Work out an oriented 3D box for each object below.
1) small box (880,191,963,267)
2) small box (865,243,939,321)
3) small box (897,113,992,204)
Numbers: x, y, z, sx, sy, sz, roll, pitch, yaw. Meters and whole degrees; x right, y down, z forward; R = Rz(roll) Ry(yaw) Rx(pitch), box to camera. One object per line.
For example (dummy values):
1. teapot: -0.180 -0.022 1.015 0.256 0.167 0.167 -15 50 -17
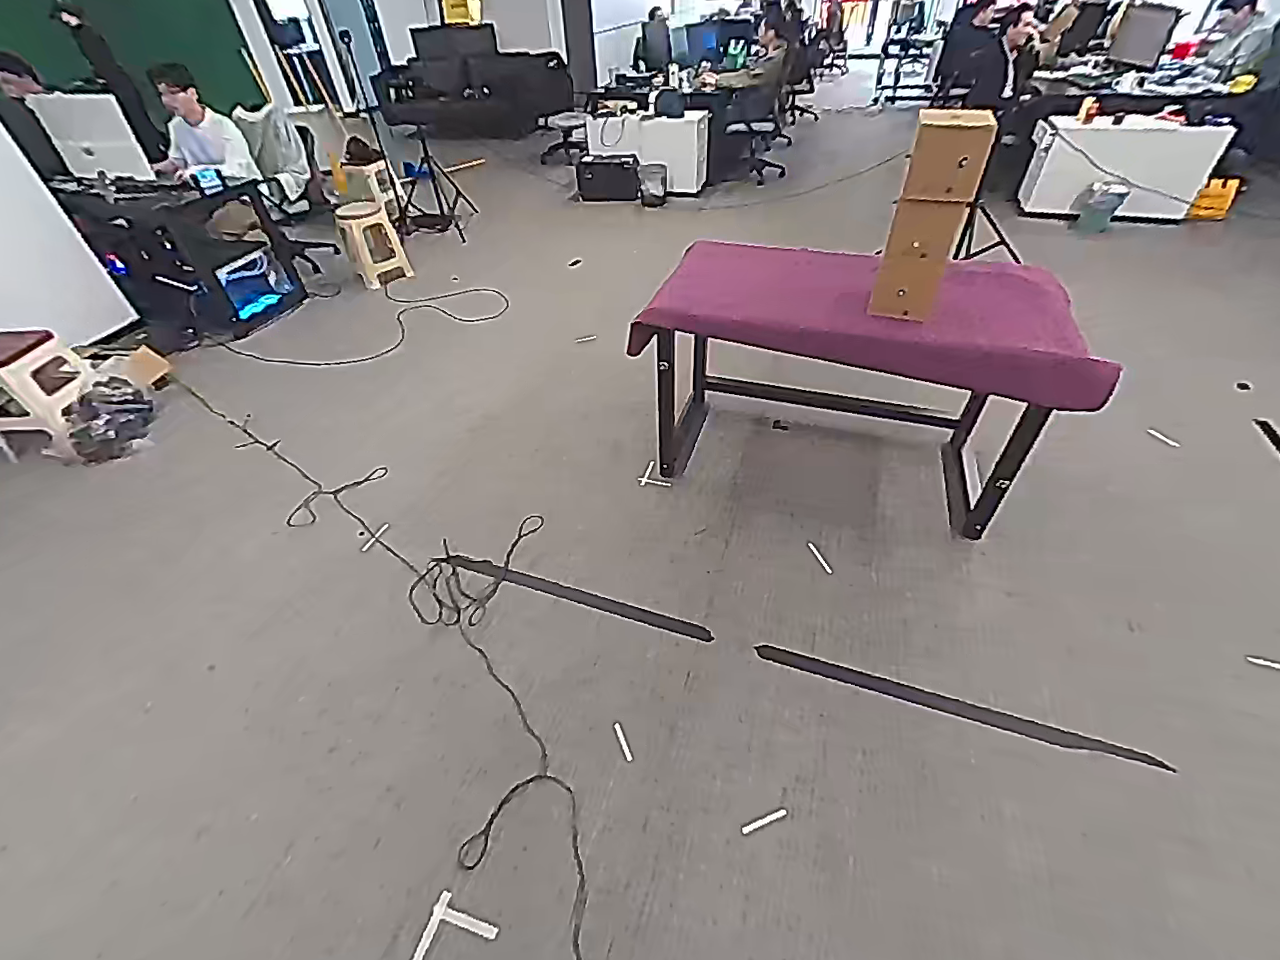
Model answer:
1. small box: 0.777 -0.713 1.500 0.168 0.176 0.179 14 46 18
2. small box: 0.779 -0.591 1.610 0.168 0.176 0.179 14 45 17
3. small box: 0.764 -0.817 1.374 0.168 0.176 0.179 12 44 15
